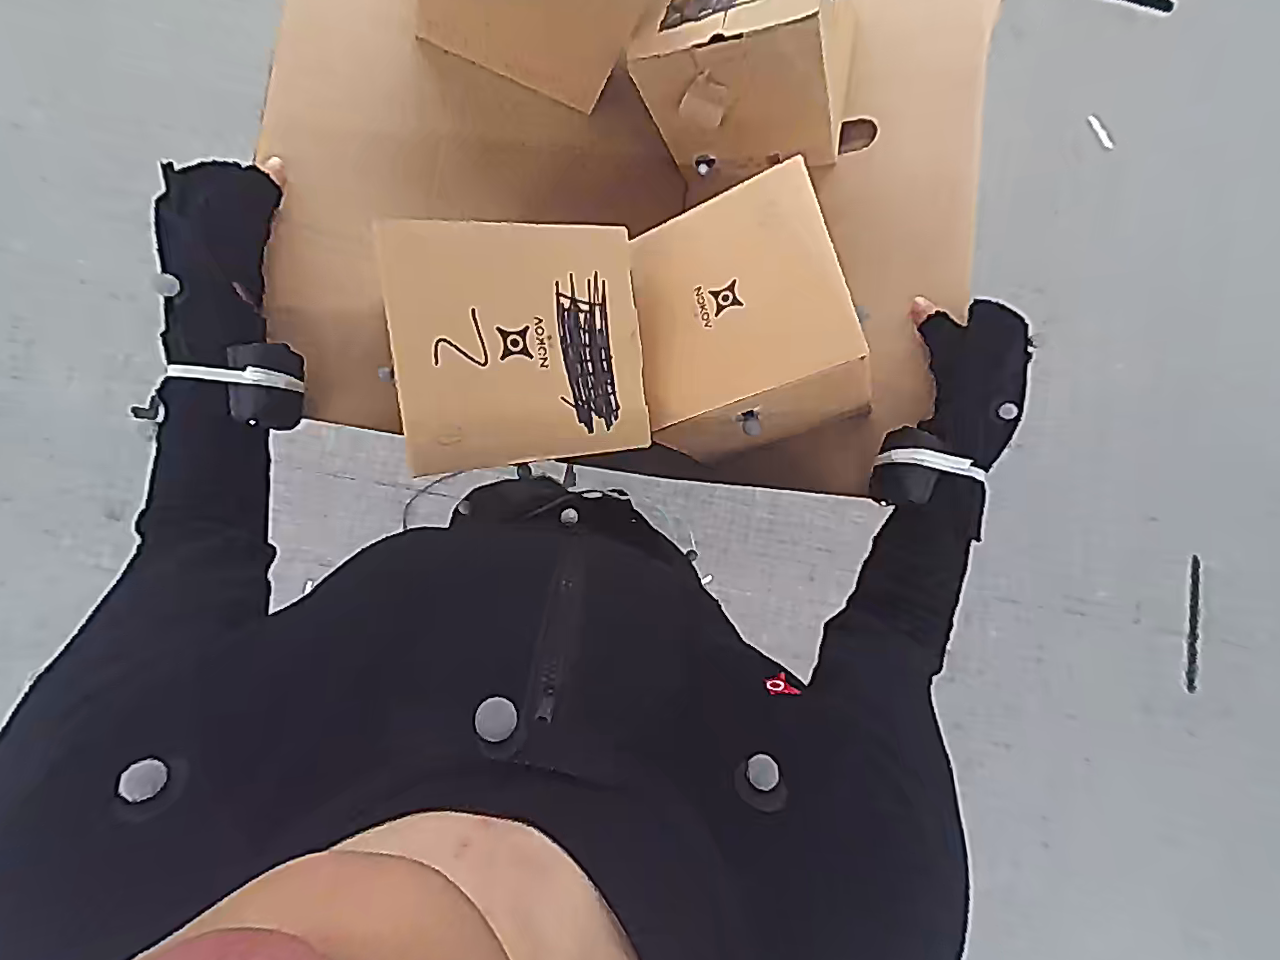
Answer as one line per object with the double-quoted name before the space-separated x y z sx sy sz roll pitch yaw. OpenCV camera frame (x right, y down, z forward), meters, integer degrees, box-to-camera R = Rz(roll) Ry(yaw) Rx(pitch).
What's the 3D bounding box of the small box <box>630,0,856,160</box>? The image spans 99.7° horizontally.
"small box" 0.110 -0.440 0.521 0.168 0.176 0.179 8 85 25
